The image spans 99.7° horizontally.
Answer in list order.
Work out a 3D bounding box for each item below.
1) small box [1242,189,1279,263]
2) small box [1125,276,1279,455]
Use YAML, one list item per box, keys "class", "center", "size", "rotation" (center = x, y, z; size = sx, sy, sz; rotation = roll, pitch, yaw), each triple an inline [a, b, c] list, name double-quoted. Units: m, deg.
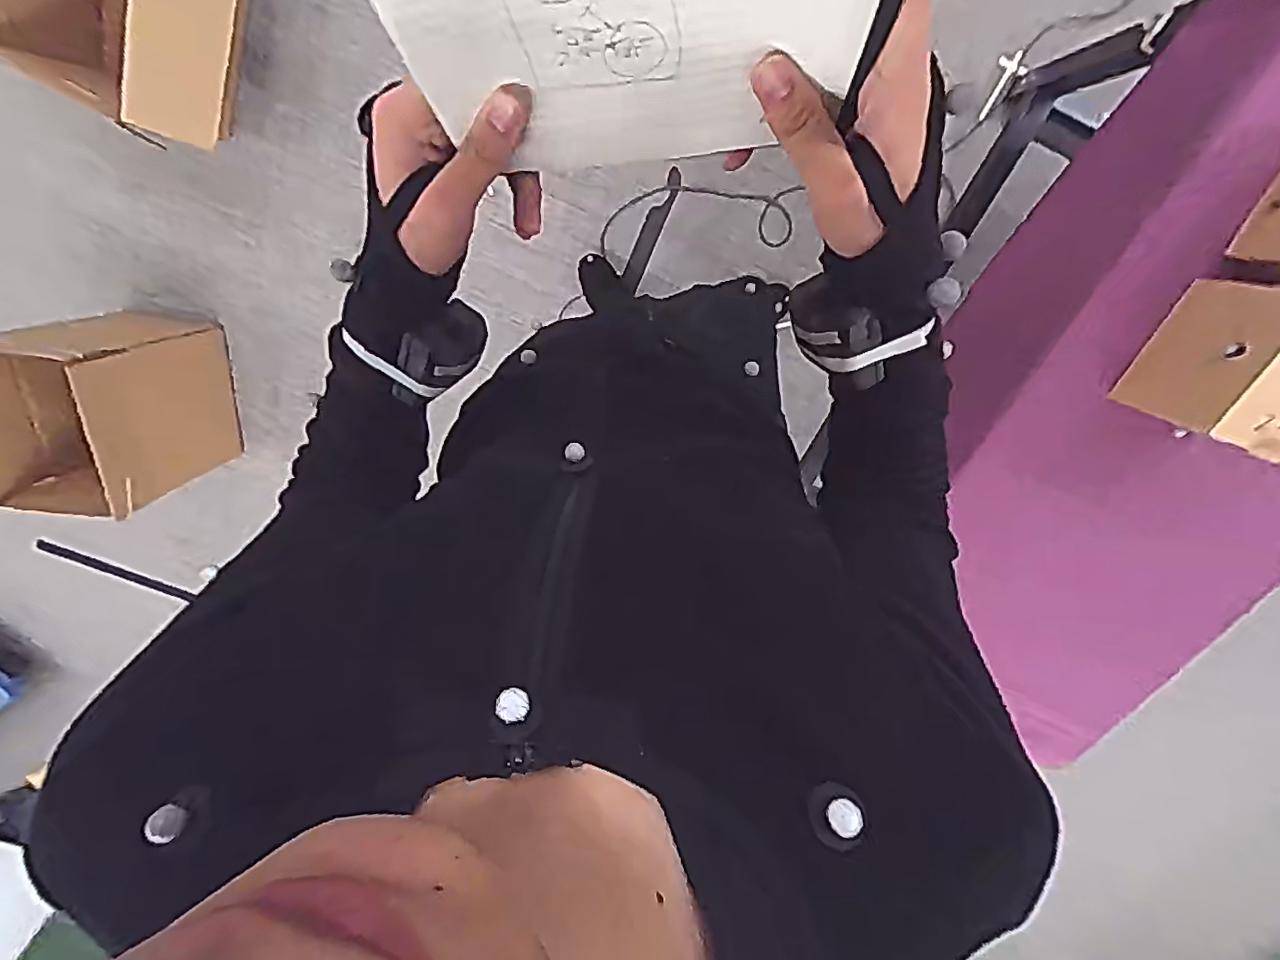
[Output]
- class: "small box"
  center: [0.867, -0.314, 0.601]
  size: [0.179, 0.176, 0.168]
  rotation: [15, 116, -4]
- class: "small box"
  center: [0.791, -0.144, 0.686]
  size: [0.168, 0.176, 0.179]
  rotation: [18, 116, -5]
